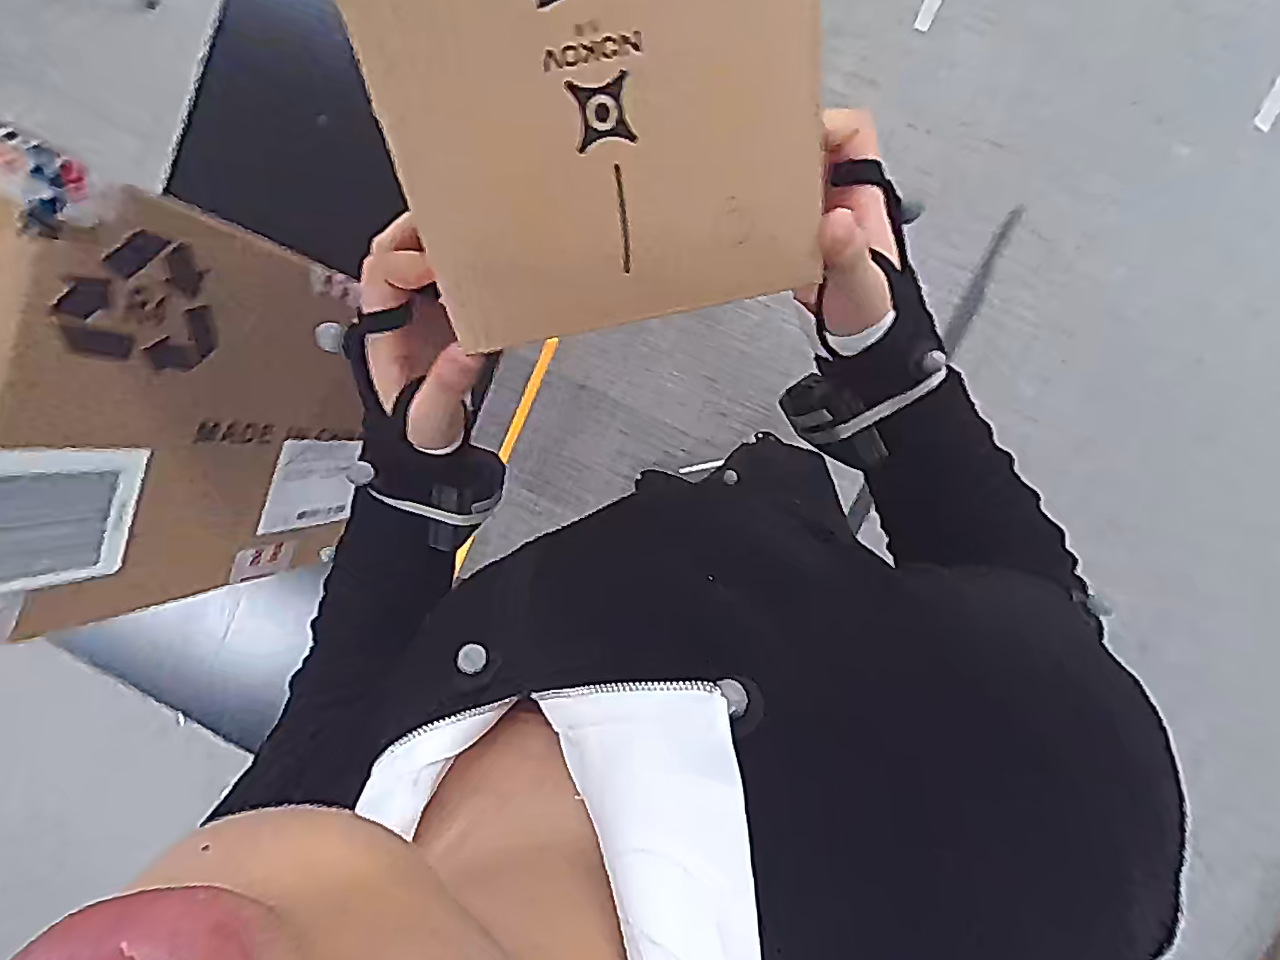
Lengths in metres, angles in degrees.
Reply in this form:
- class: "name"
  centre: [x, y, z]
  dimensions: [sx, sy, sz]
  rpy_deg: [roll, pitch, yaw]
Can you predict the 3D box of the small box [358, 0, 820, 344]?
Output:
- class: "small box"
  centre: [-0.019, -0.186, 0.276]
  dimensions: [0.168, 0.176, 0.179]
  rpy_deg: [-10, 118, 2]
